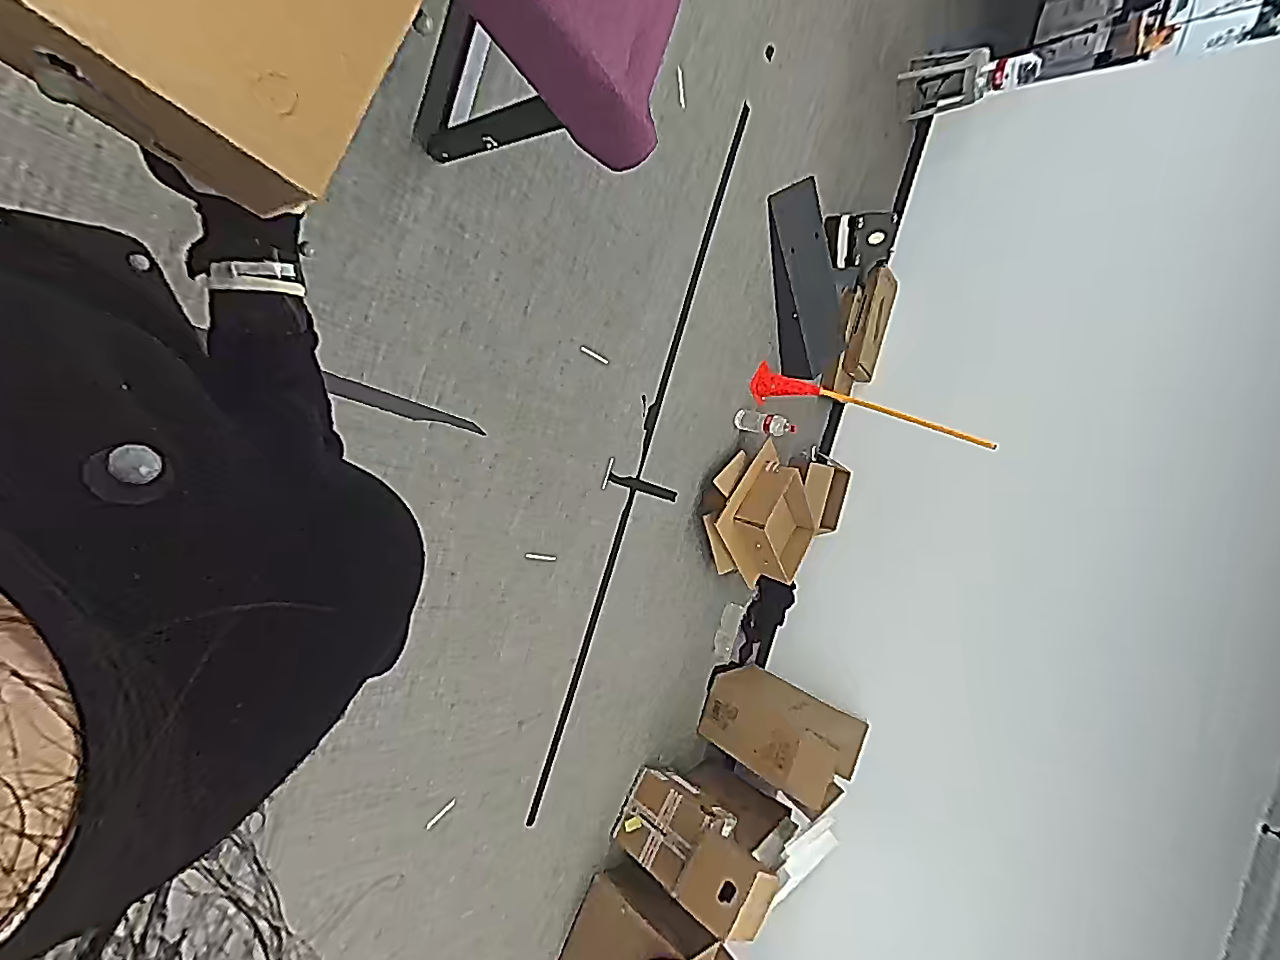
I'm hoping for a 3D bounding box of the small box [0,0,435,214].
[{"bbox_3d":[-0.238,-0.276,0.301,0.168,0.176,0.179,27,85,-46],"label":"small box"}]
